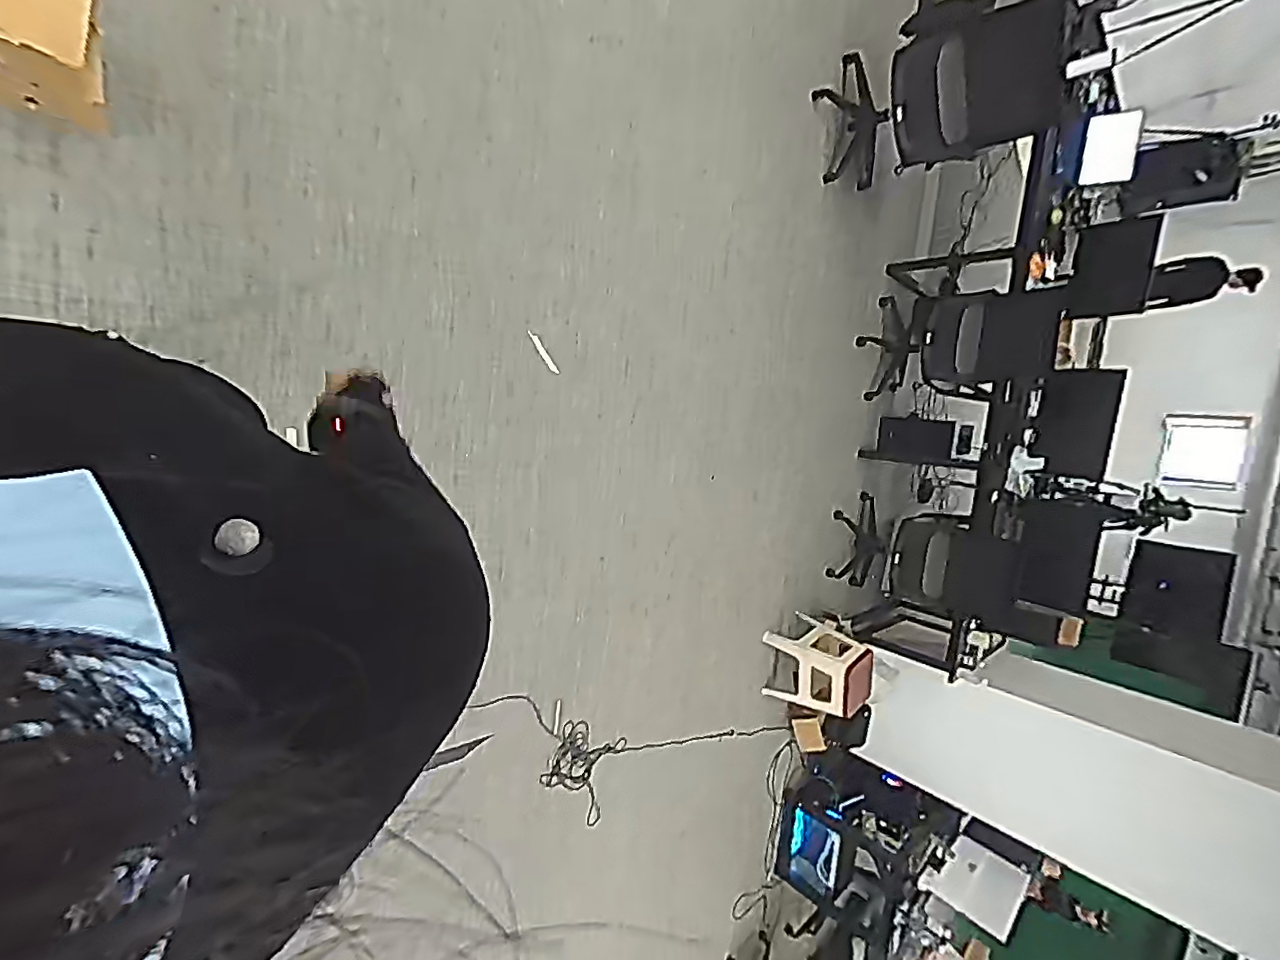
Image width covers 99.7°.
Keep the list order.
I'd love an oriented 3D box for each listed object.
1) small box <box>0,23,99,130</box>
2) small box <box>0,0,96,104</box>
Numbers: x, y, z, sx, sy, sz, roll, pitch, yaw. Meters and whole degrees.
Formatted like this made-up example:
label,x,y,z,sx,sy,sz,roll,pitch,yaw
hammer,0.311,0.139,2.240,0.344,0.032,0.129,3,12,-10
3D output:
label,x,y,z,sx,sy,sz,roll,pitch,yaw
small box,-1.012,-0.721,0.892,0.168,0.176,0.179,-1,98,-45
small box,-0.904,-0.694,0.773,0.168,0.176,0.179,8,93,-45
